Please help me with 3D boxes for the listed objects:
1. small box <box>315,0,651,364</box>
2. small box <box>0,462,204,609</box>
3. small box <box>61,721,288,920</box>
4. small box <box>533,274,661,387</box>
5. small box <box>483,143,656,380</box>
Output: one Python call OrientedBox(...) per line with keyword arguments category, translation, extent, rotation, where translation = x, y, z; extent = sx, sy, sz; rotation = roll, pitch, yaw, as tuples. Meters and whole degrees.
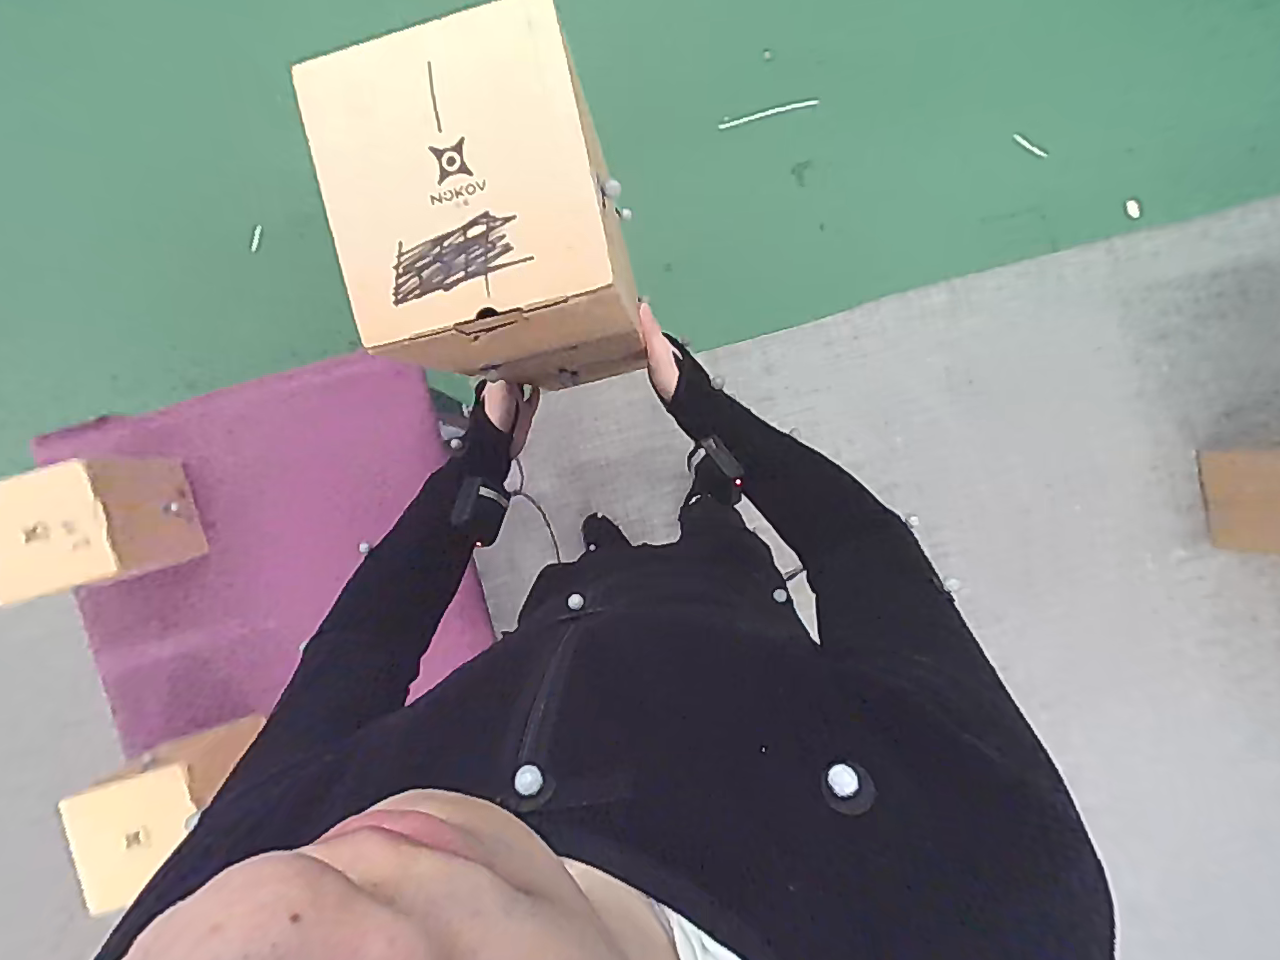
OrientedBox(category="small box", translation=(-0.089, -0.188, 0.395), extent=(0.168, 0.176, 0.179), rotation=(-11, 94, 5))
OrientedBox(category="small box", translation=(-0.818, 0.075, 0.808), extent=(0.179, 0.176, 0.168), rotation=(-17, 93, -2))
OrientedBox(category="small box", translation=(-0.683, 0.495, 0.813), extent=(0.179, 0.176, 0.168), rotation=(-18, 90, -2))
OrientedBox(category="small box", translation=(-0.069, -0.230, 0.720), extent=(0.168, 0.176, 0.179), rotation=(-12, 96, 4))
OrientedBox(category="small box", translation=(-0.079, -0.209, 0.557), extent=(0.168, 0.176, 0.179), rotation=(-11, 96, 5))
